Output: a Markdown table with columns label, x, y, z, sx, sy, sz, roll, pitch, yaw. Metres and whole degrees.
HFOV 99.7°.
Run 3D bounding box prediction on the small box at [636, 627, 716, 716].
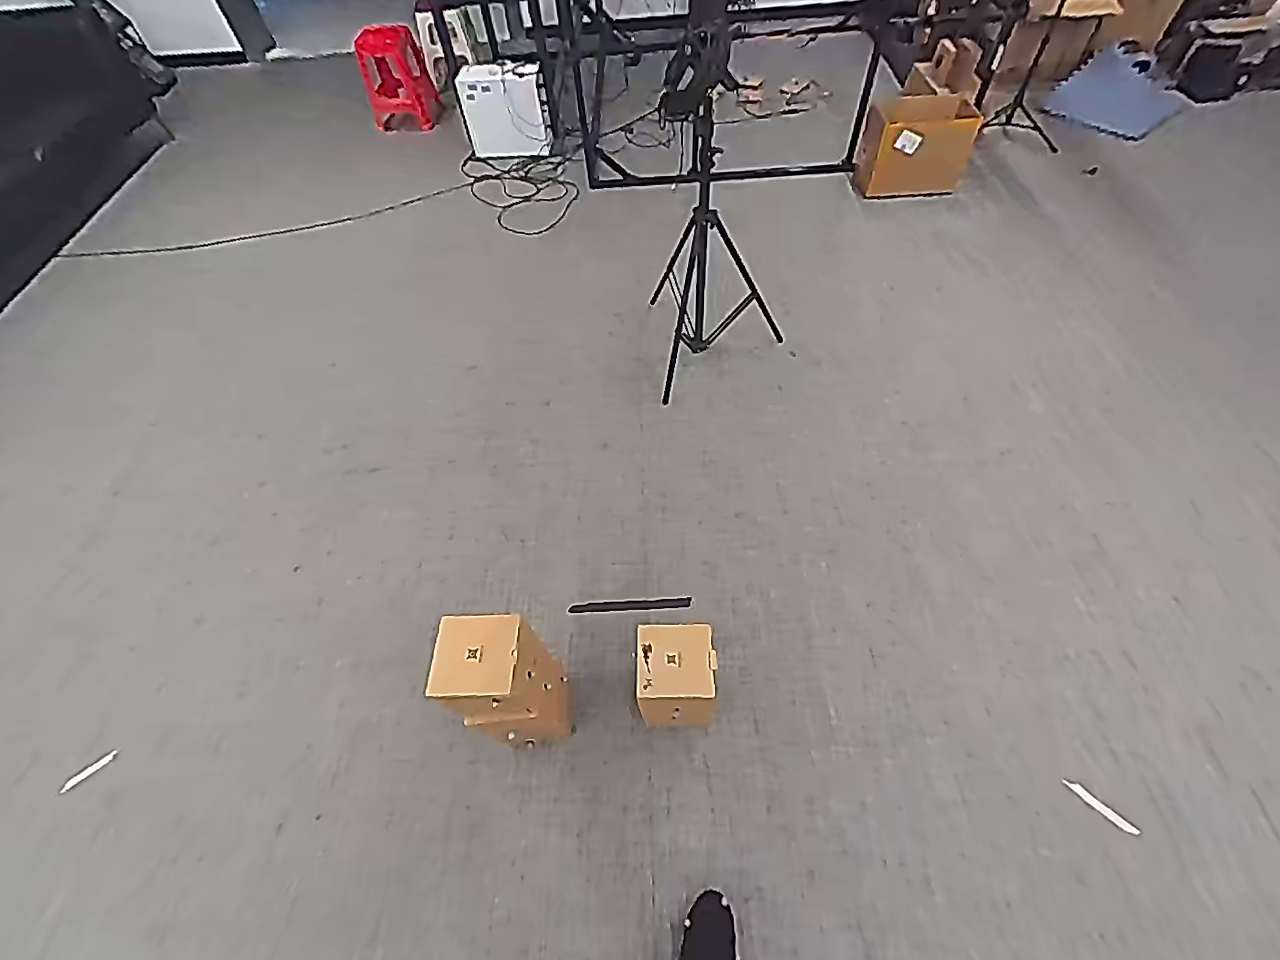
| label | x | y | z | sx | sy | sz | roll | pitch | yaw |
| --- | --- | --- | --- | --- | --- | --- | --- | --- | --- |
| small box | 0.083 | 0.459 | 1.290 | 0.179 | 0.176 | 0.168 | 0 | 55 | 3 |

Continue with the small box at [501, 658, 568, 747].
| label | x | y | z | sx | sy | sz | roll | pitch | yaw |
| --- | --- | --- | --- | --- | --- | --- | --- | --- | --- |
| small box | -0.286 | 0.589 | 1.429 | 0.168 | 0.176 | 0.179 | -8 | 56 | 0 |

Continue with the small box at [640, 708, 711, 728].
| label | x | y | z | sx | sy | sz | roll | pitch | yaw |
| --- | --- | --- | --- | --- | --- | --- | --- | --- | --- |
| small box | 0.093 | 0.552 | 1.425 | 0.179 | 0.176 | 0.168 | -1 | 56 | 3 |

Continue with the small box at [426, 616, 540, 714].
| label | x | y | z | sx | sy | sz | roll | pitch | yaw |
| --- | --- | --- | --- | --- | --- | --- | --- | --- | --- |
| small box | -0.327 | 0.402 | 1.165 | 0.179 | 0.176 | 0.168 | -2 | 55 | 4 |

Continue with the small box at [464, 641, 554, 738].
| label | x | y | z | sx | sy | sz | roll | pitch | yaw |
| --- | --- | --- | --- | --- | --- | --- | --- | --- | --- |
| small box | -0.304 | 0.502 | 1.292 | 0.168 | 0.176 | 0.179 | -6 | 56 | 1 |
